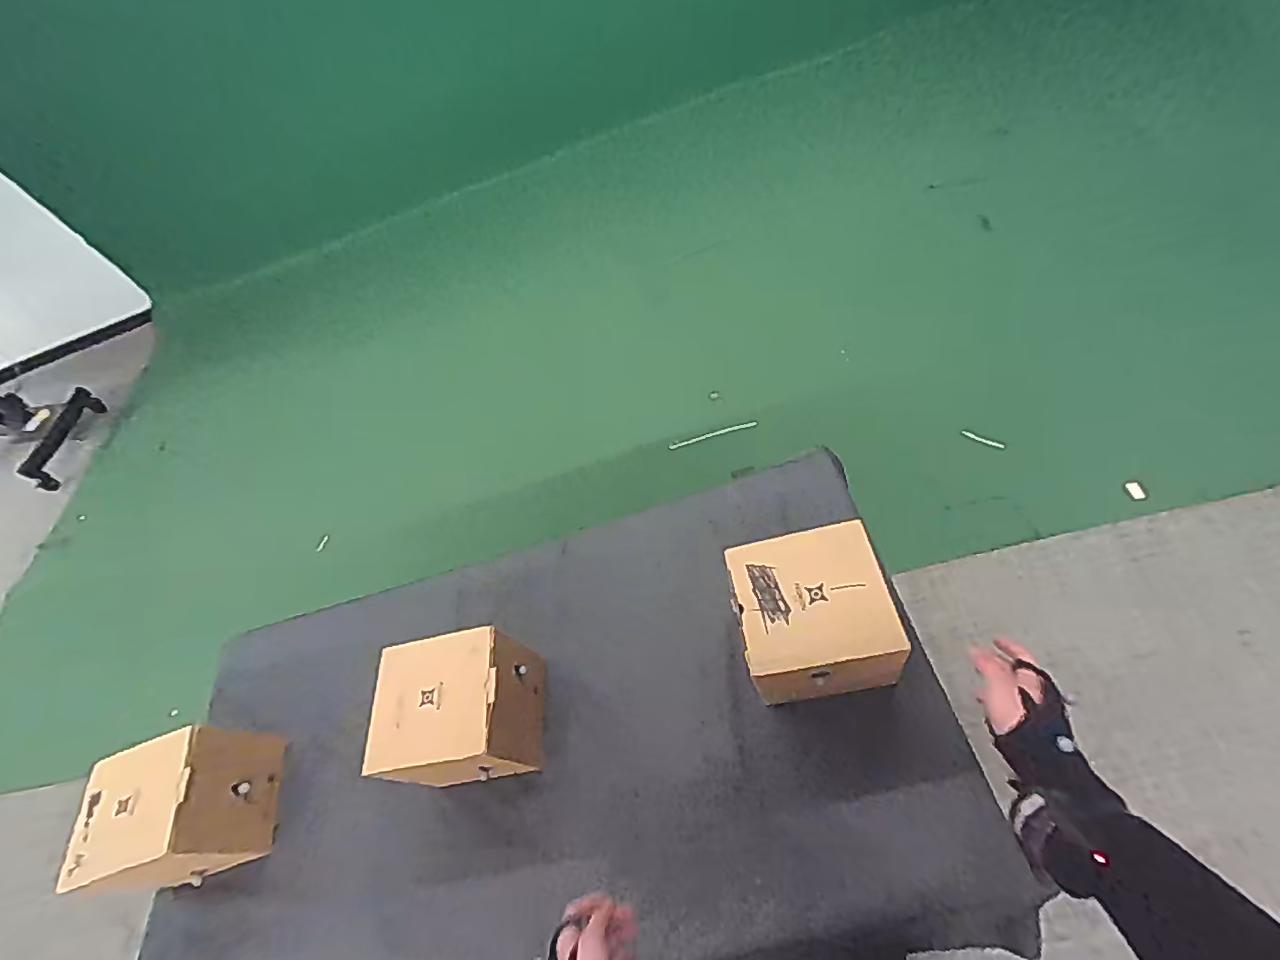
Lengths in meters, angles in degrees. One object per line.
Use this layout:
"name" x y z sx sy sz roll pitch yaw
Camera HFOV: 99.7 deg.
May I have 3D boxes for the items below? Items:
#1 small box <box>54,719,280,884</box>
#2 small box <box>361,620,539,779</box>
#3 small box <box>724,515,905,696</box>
"small box" -0.686 0.480 0.812 0.179 0.176 0.168 -20 54 4
"small box" -0.255 0.319 0.773 0.179 0.176 0.168 -15 53 11
"small box" 0.219 0.170 0.703 0.179 0.176 0.168 -13 55 9
